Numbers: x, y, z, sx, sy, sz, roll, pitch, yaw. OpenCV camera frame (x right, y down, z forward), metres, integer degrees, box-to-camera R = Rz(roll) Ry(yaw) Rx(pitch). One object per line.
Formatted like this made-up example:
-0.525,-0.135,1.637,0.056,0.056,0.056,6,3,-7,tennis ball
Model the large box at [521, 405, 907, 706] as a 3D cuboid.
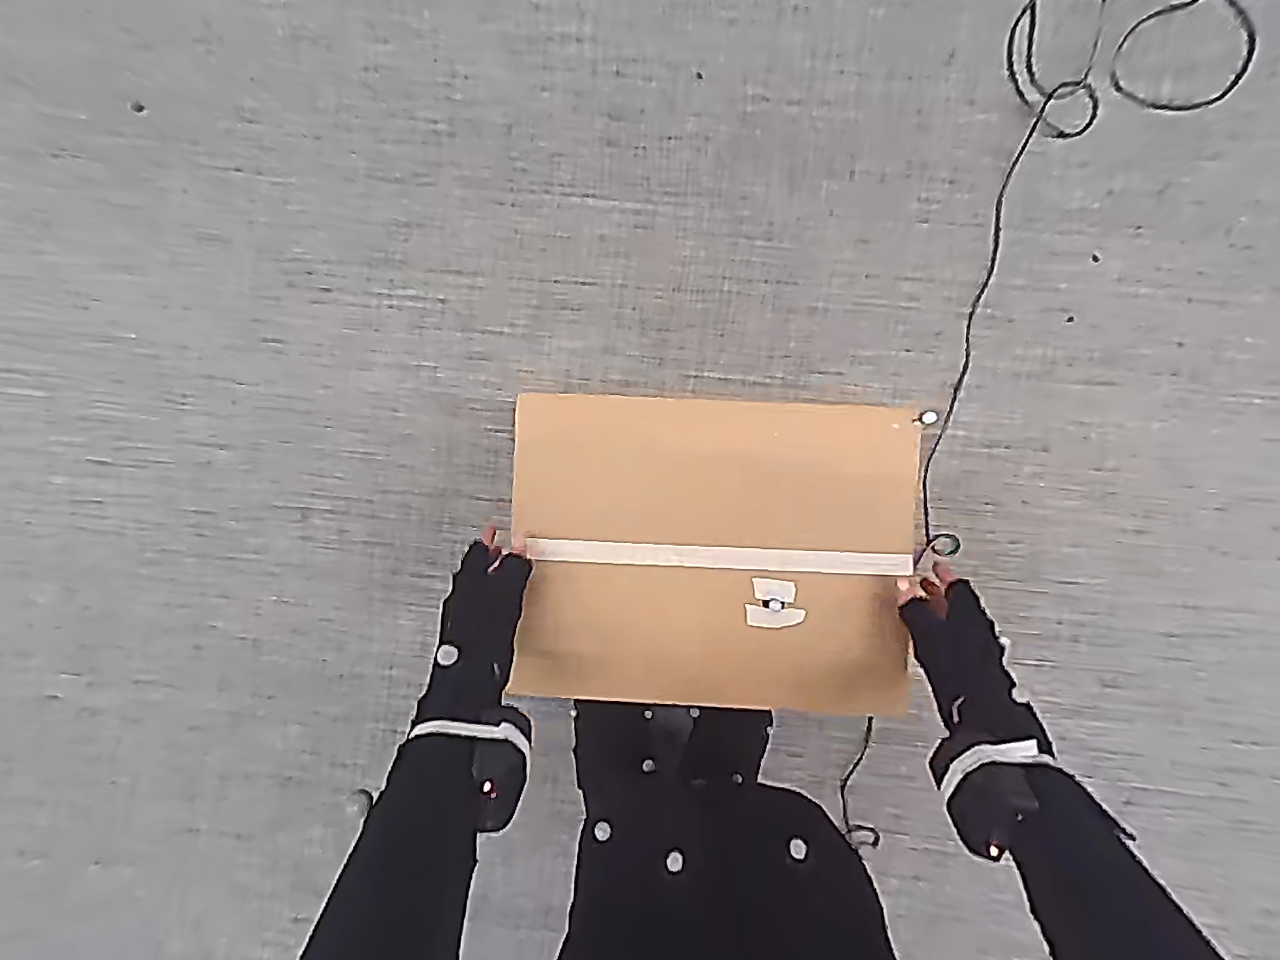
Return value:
0.076,0.077,0.713,0.408,0.320,0.320,2,92,1,large box
